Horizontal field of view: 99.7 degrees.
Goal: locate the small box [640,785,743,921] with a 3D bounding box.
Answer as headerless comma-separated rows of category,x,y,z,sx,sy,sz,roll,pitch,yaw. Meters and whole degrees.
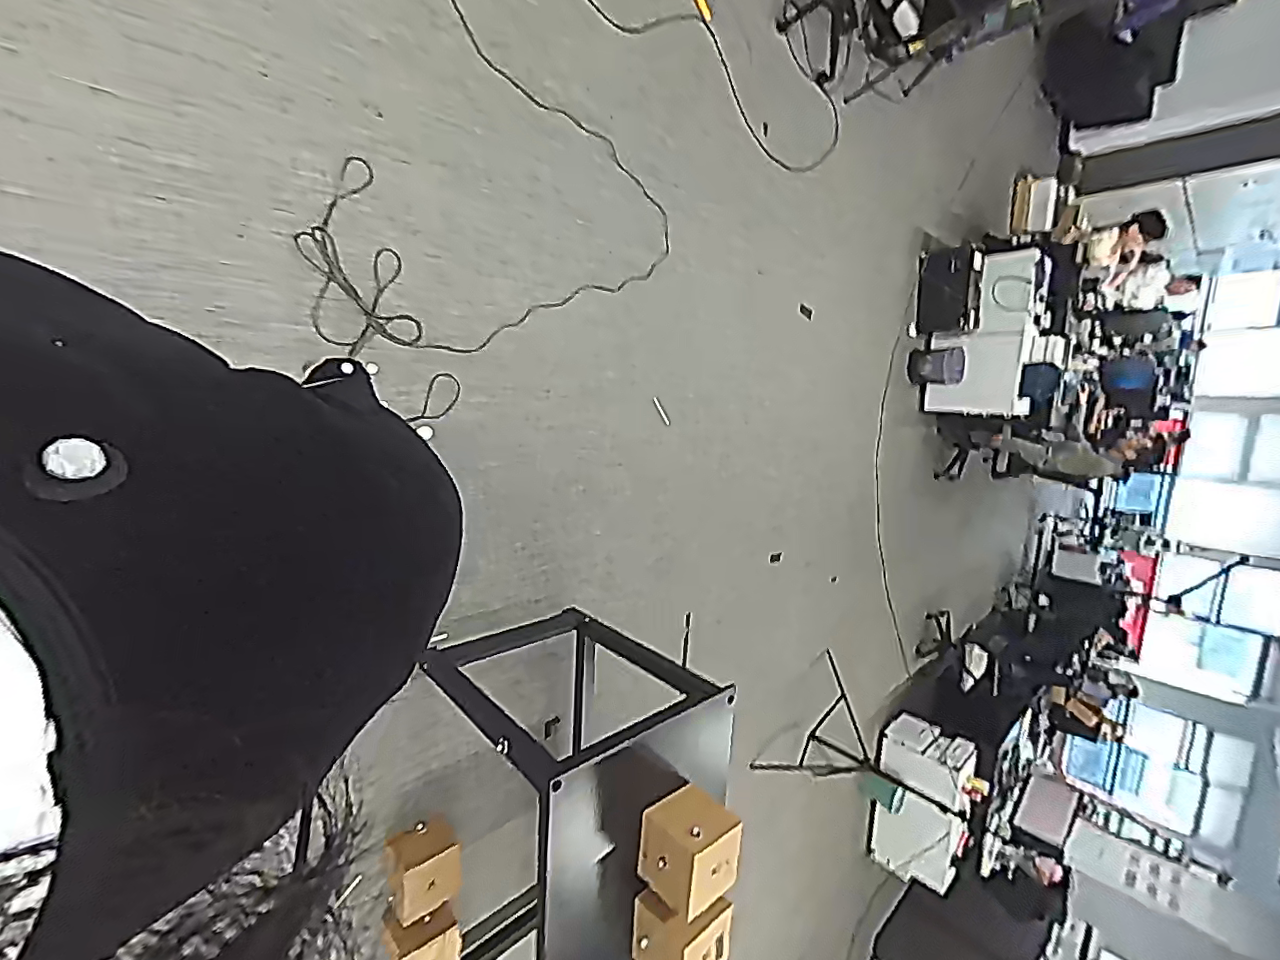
small box,0.119,0.873,1.286,0.179,0.176,0.168,-1,99,-43

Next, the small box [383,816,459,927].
small box,-0.658,1.164,1.624,0.168,0.176,0.179,-6,101,-43

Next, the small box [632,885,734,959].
small box,0.104,1.095,1.316,0.179,0.176,0.168,-5,102,-42

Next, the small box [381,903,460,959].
small box,-0.673,1.424,1.657,0.179,0.176,0.168,-6,102,-43
